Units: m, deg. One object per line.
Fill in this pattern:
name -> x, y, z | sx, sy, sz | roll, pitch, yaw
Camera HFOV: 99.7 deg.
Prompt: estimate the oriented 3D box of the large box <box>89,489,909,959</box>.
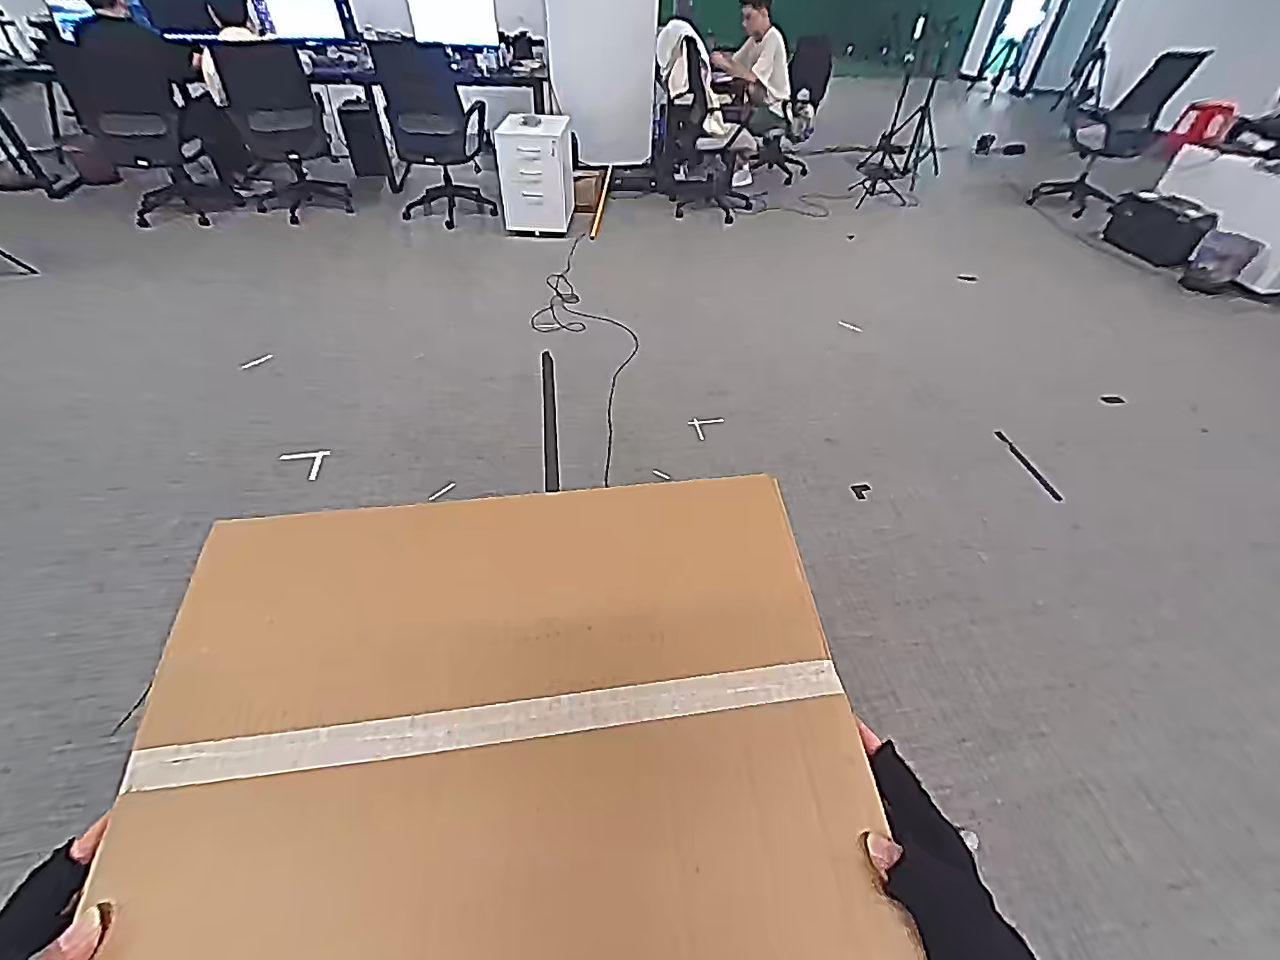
large box -> -0.082, 0.234, 0.446 | 0.408, 0.320, 0.320 | -5, 56, -6
